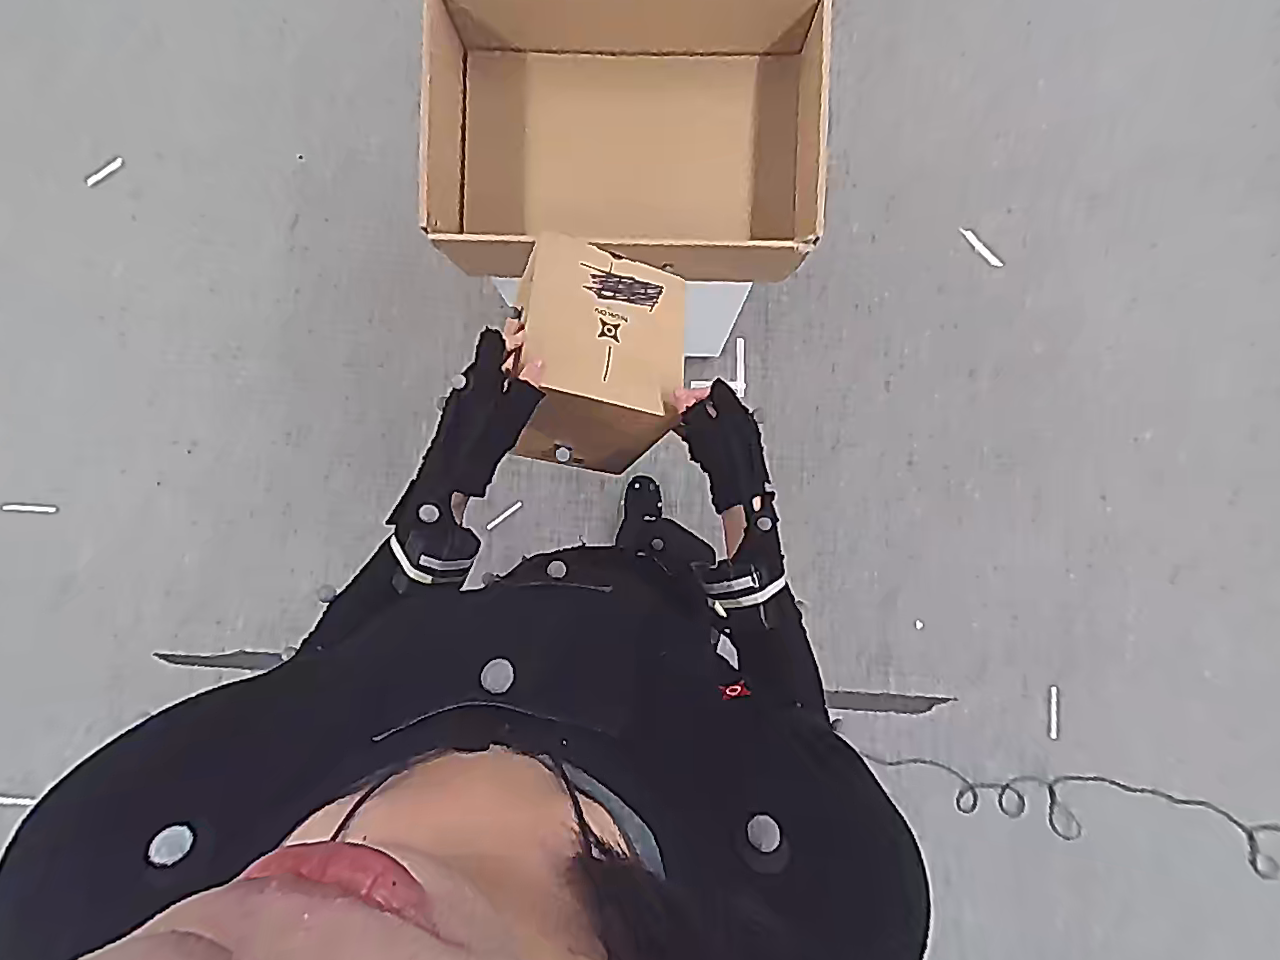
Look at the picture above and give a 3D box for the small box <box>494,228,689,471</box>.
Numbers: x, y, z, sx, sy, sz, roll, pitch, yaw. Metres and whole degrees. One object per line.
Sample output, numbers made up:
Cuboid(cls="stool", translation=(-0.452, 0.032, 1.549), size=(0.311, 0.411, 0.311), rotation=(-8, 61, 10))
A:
Cuboid(cls="small box", translation=(-0.058, -0.129, 0.601), size=(0.168, 0.176, 0.179), rotation=(11, 67, -22))
